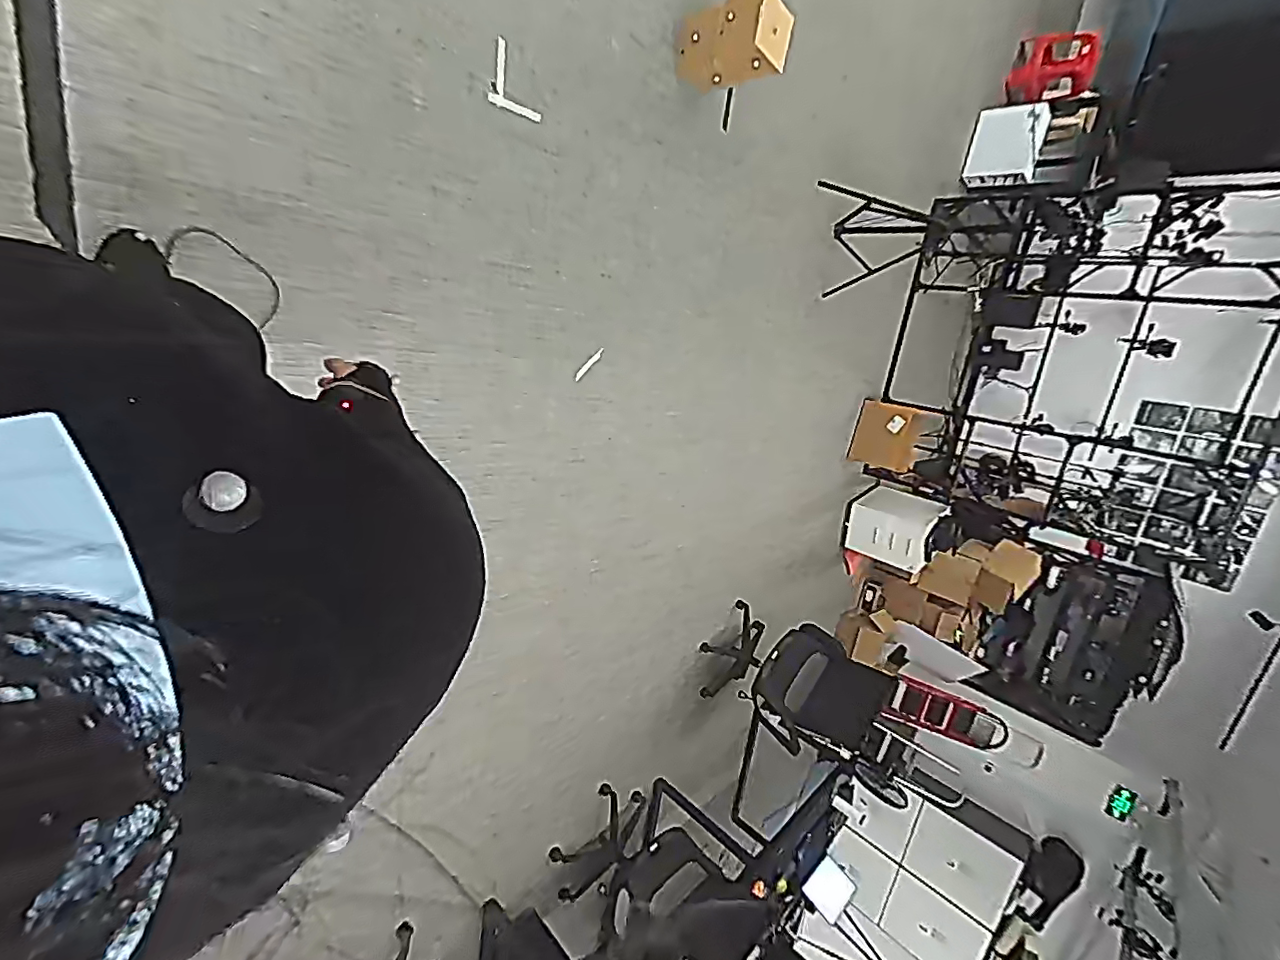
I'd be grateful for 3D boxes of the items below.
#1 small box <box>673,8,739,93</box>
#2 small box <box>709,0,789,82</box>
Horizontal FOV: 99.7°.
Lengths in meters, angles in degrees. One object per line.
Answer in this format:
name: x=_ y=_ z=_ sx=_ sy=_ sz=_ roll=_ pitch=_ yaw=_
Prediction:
small box: x=0.236 y=-1.468 z=1.863 sx=0.179 sy=0.176 sz=0.168 roll=-10 pitch=114 yaw=-46
small box: x=0.351 y=-1.428 z=1.753 sx=0.179 sy=0.176 sz=0.168 roll=0 pitch=106 yaw=-47
